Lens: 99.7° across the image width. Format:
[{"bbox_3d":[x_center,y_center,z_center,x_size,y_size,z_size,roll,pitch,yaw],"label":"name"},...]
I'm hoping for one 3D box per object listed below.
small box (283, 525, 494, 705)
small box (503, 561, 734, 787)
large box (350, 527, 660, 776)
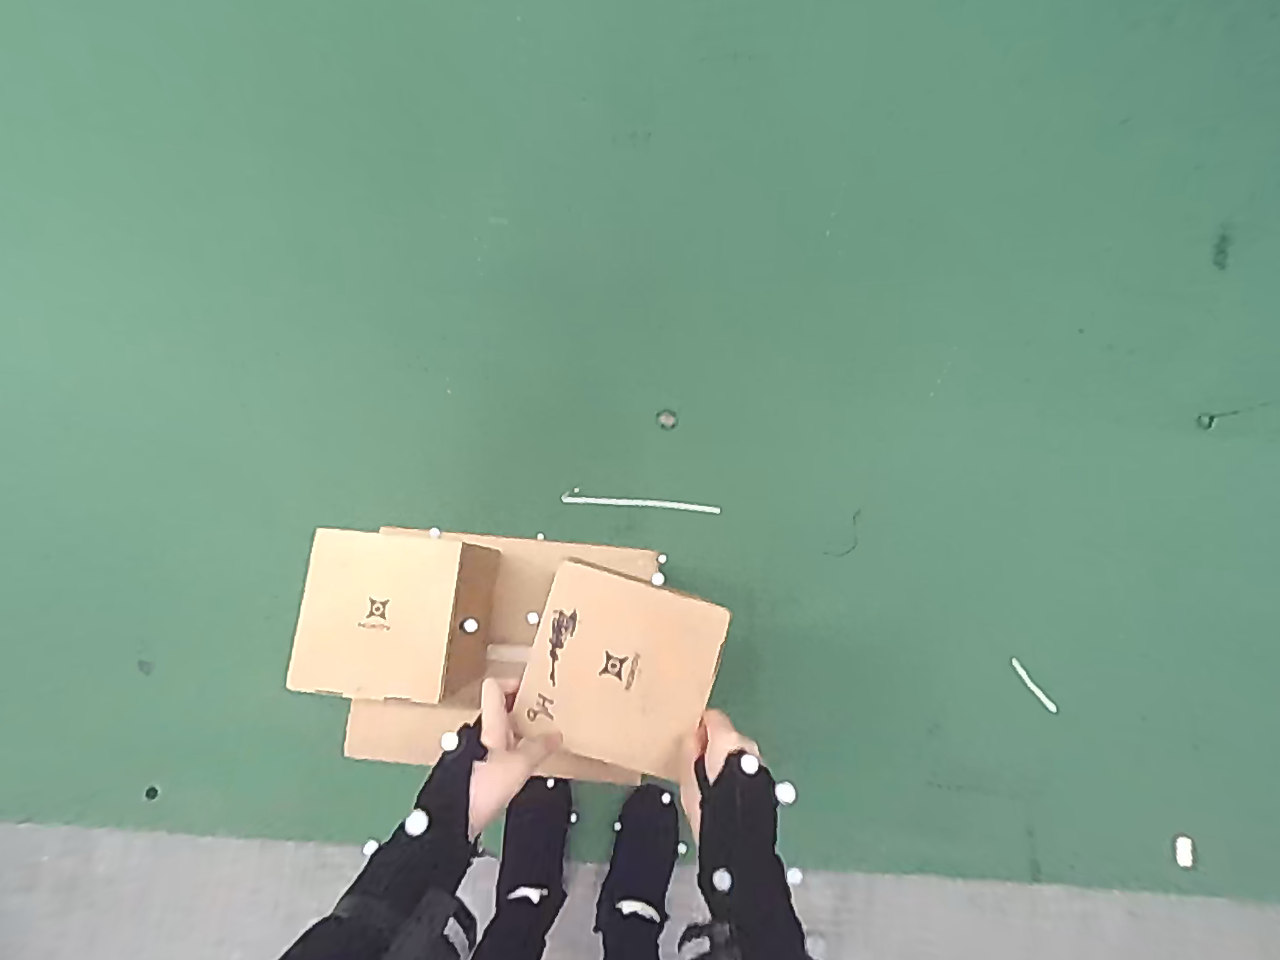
[{"bbox_3d":[-0.286,0.158,0.659,0.168,0.176,0.179,6,79,1],"label":"small box"},{"bbox_3d":[-0.023,0.185,0.572,0.179,0.176,0.168,17,81,-2],"label":"small box"},{"bbox_3d":[-0.182,0.258,0.889,0.408,0.320,0.320,5,81,0],"label":"large box"}]
